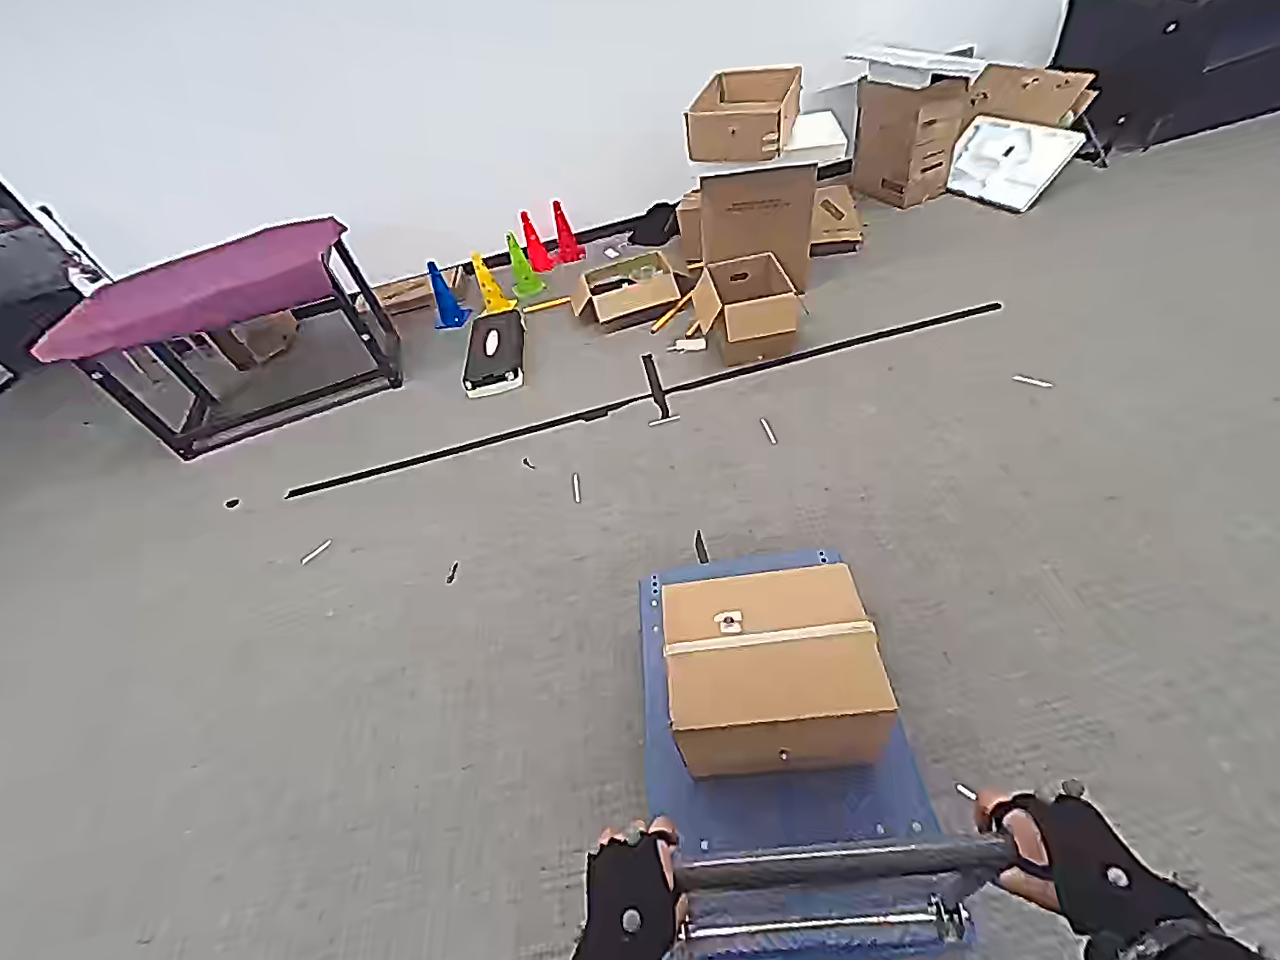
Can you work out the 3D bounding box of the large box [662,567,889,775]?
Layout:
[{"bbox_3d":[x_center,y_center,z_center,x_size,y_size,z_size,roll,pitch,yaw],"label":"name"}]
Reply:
[{"bbox_3d":[0.280,0.431,1.199,0.408,0.320,0.320,-10,45,7],"label":"large box"}]
